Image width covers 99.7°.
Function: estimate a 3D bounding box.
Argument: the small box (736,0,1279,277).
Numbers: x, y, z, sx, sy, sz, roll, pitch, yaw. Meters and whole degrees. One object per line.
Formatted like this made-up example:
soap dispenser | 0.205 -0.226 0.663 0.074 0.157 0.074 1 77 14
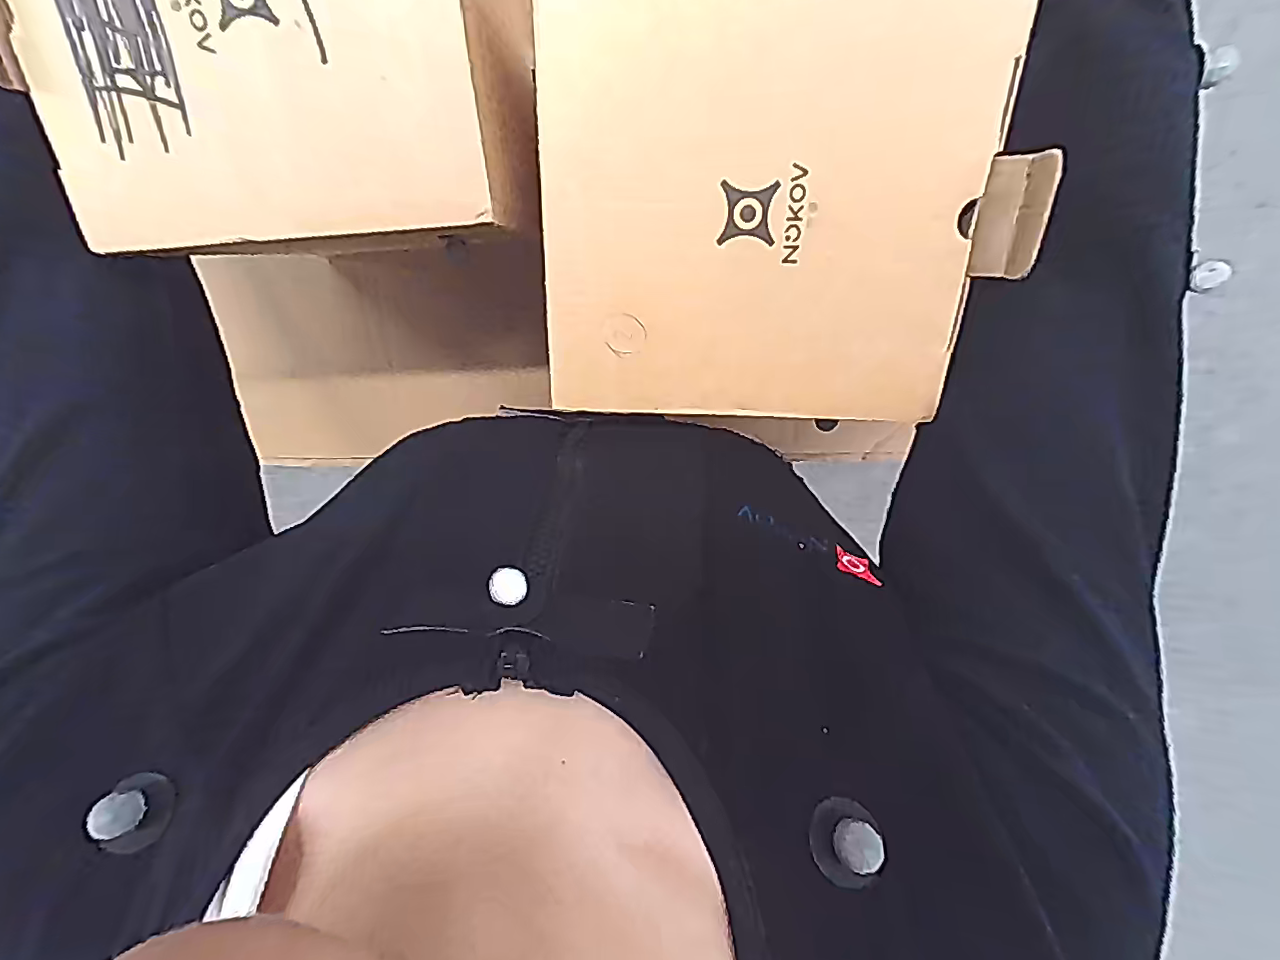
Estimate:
small box | 0.153 -0.202 0.239 0.179 0.176 0.168 14 119 -3
